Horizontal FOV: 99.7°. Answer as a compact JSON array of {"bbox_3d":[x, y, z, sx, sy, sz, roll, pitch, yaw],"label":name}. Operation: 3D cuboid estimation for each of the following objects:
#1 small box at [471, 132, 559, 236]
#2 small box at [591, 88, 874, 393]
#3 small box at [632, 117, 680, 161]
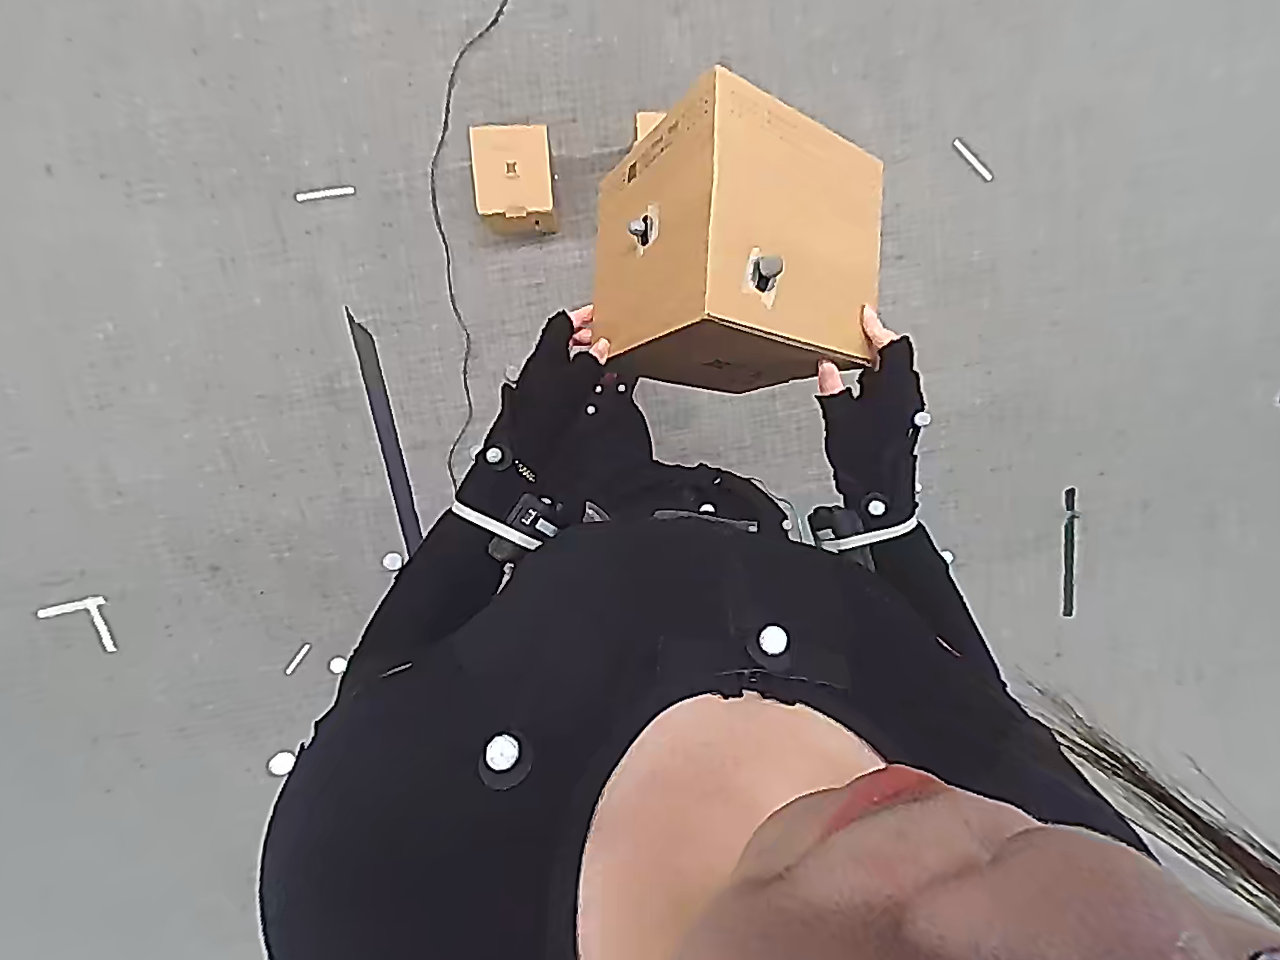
[{"bbox_3d":[-0.280,-0.671,1.246,0.168,0.176,0.179,-4,101,-4],"label":"small box"},{"bbox_3d":[0.075,-0.182,0.459,0.179,0.168,0.176,4,88,-32],"label":"small box"},{"bbox_3d":[0.071,-0.717,1.261,0.179,0.176,0.168,-1,101,-4],"label":"small box"}]
